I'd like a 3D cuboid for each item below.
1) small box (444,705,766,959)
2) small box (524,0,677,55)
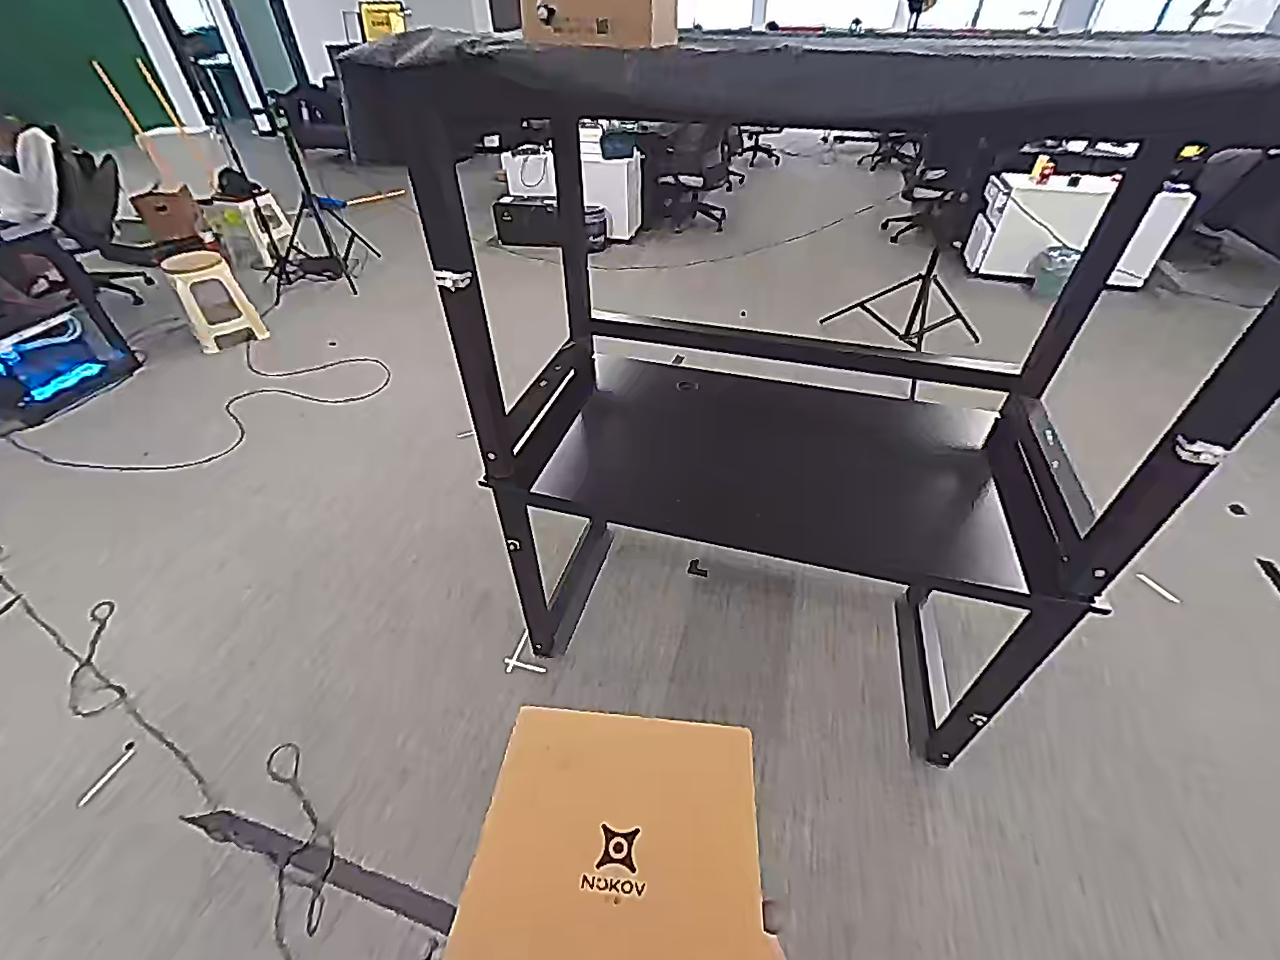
[{"bbox_3d":[-0.014,0.282,0.359,0.168,0.176,0.179,3,37,5],"label":"small box"},{"bbox_3d":[-0.044,-0.641,0.676,0.168,0.176,0.179,10,40,9],"label":"small box"}]
